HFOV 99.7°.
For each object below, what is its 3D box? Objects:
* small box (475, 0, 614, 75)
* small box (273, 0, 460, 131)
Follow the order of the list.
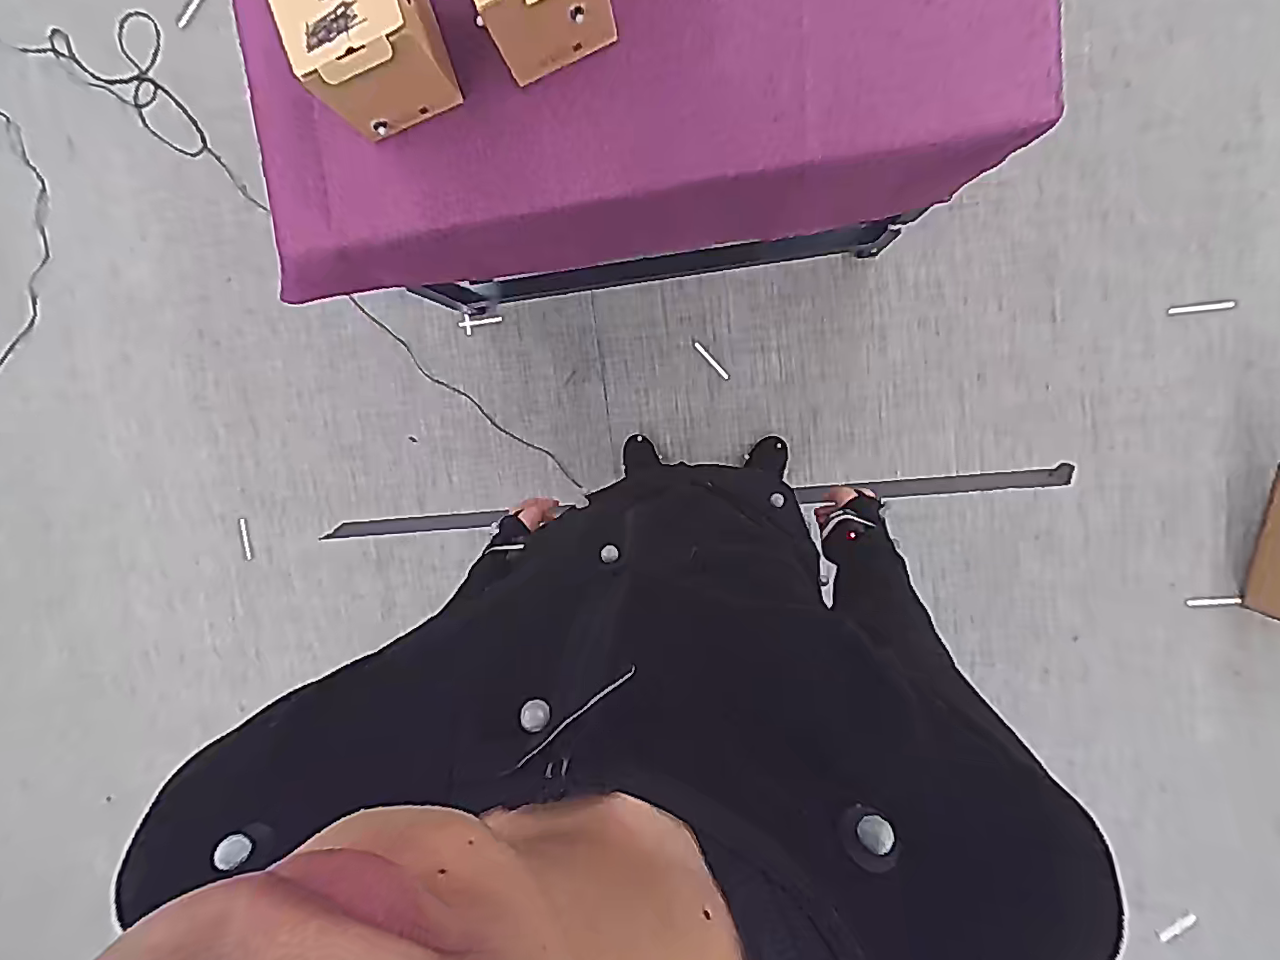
[{"bbox_3d":[-0.145,-0.705,0.740,0.168,0.176,0.179,-19,94,8],"label":"small box"},{"bbox_3d":[-0.386,-0.640,0.773,0.168,0.176,0.179,-18,94,8],"label":"small box"}]
